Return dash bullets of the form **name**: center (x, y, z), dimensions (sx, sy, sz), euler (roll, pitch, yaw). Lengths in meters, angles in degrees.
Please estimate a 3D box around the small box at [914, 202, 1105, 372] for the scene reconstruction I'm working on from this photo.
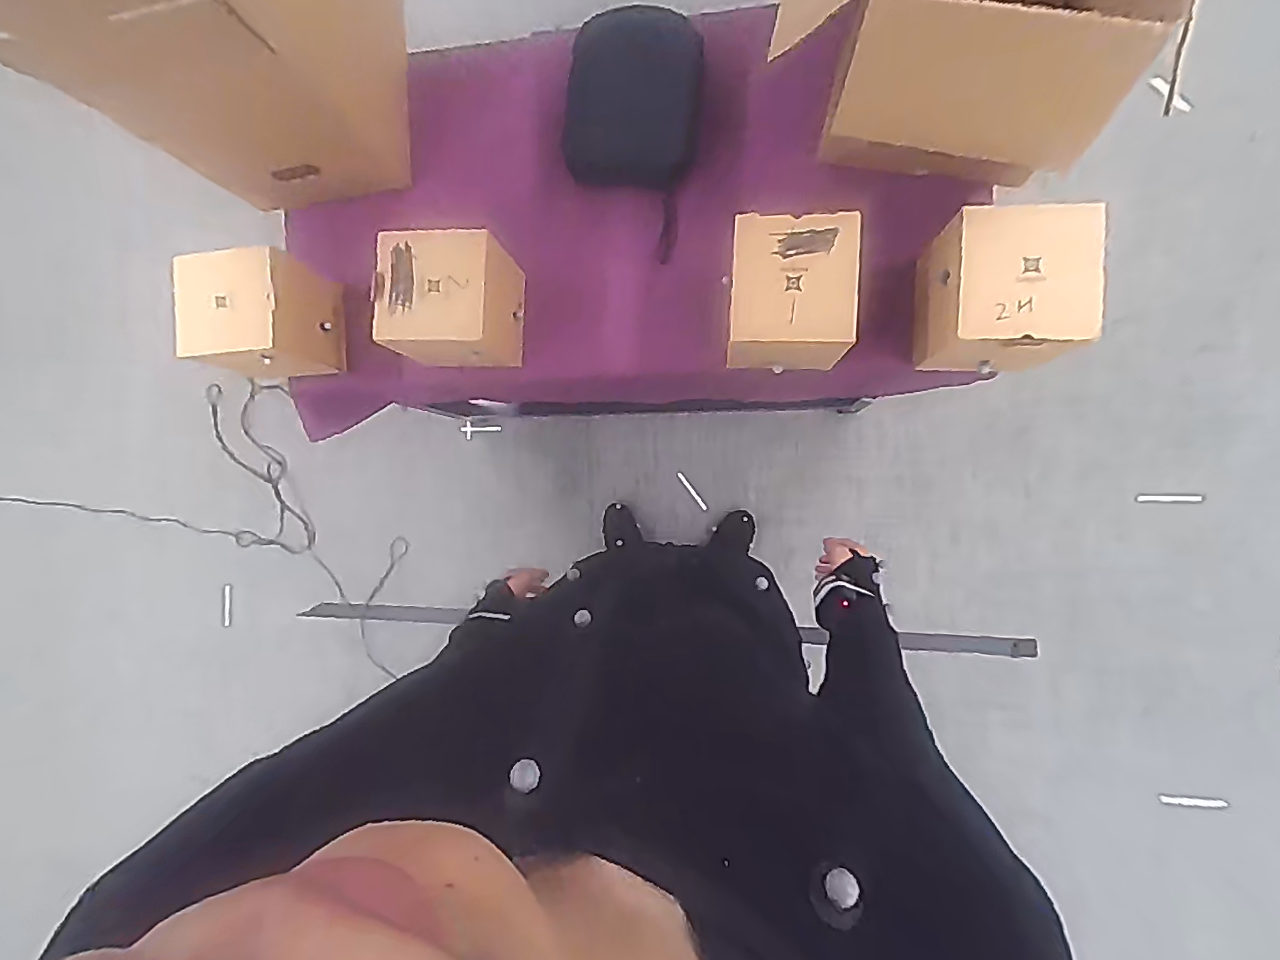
- **small box**: center (0.498, -0.259, 0.754), dimensions (0.168, 0.176, 0.179), euler (3, 89, 9)

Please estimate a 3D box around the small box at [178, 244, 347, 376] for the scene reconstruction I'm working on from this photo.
- **small box**: center (-0.638, -0.279, 0.927), dimensions (0.179, 0.176, 0.168), euler (-3, 88, 7)

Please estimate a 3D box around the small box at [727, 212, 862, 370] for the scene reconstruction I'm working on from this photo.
- **small box**: center (0.217, -0.269, 0.799), dimensions (0.168, 0.176, 0.179), euler (3, 90, 9)
